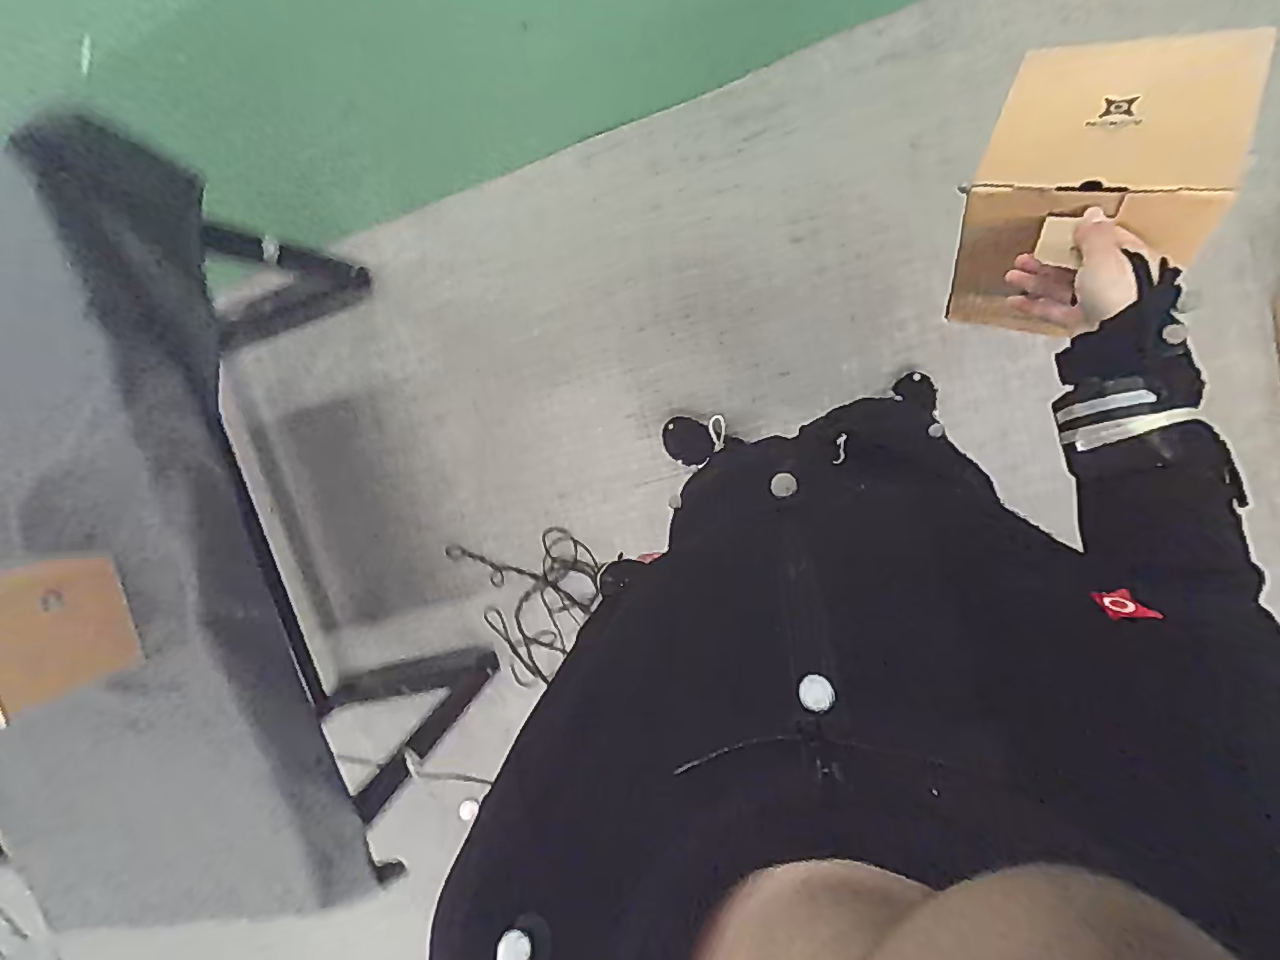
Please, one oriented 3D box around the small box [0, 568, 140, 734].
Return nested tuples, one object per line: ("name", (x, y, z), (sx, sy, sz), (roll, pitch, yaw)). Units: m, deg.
("small box", (-0.873, 0.231, 0.761), (0.168, 0.176, 0.179), (-8, 99, 13))
